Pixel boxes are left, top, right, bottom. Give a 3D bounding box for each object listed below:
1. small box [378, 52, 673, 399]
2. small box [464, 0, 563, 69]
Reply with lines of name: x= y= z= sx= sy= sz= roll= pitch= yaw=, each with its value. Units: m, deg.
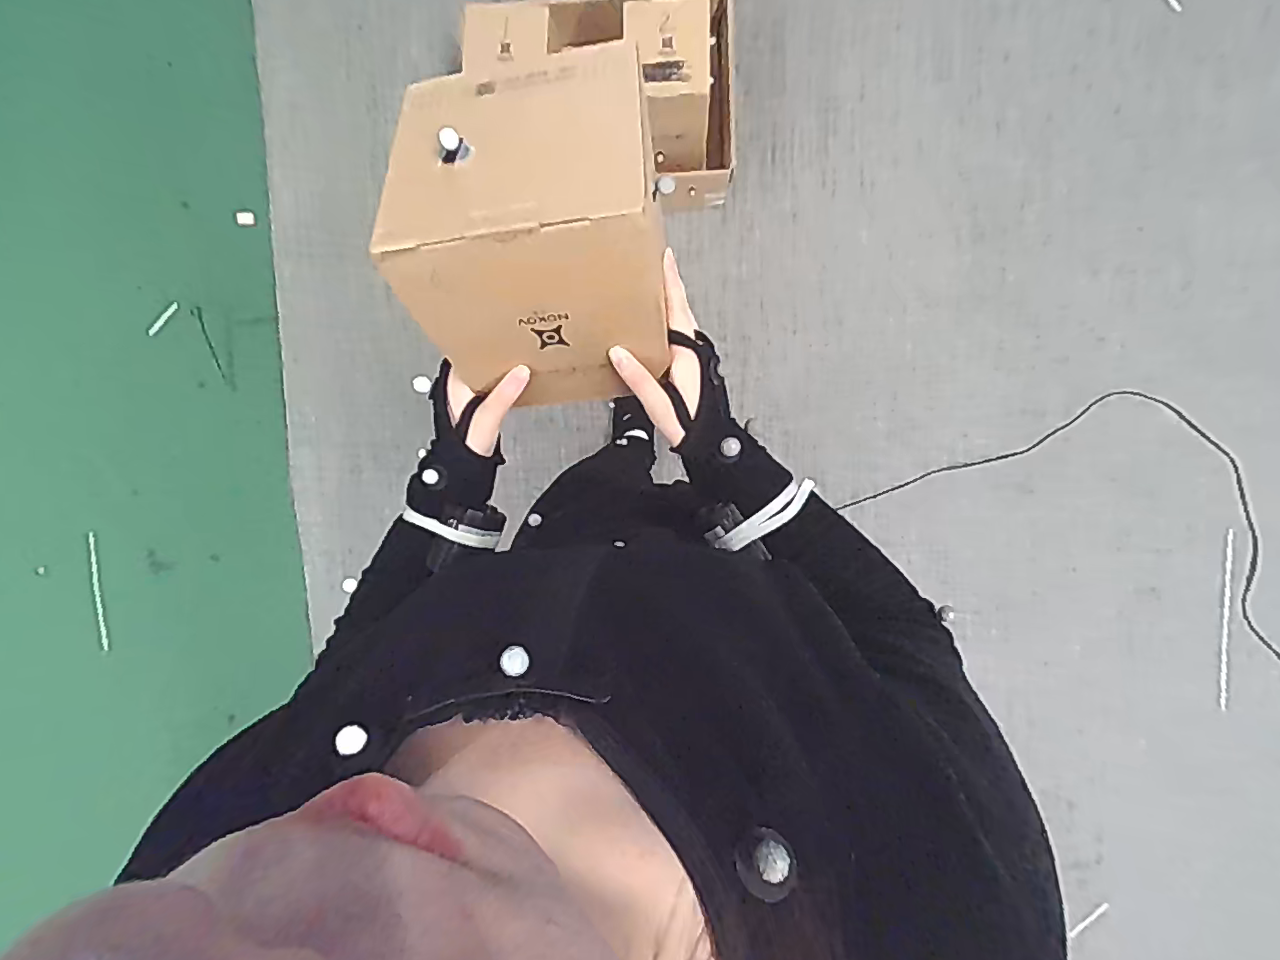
small box: x=-0.066 y=-0.186 z=0.414 sx=0.168 sy=0.179 sz=0.176 roll=-4 pitch=66 yaw=7
small box: x=-0.251 y=-0.833 z=1.118 sx=0.168 sy=0.176 sz=0.179 roll=5 pitch=95 yaw=2
